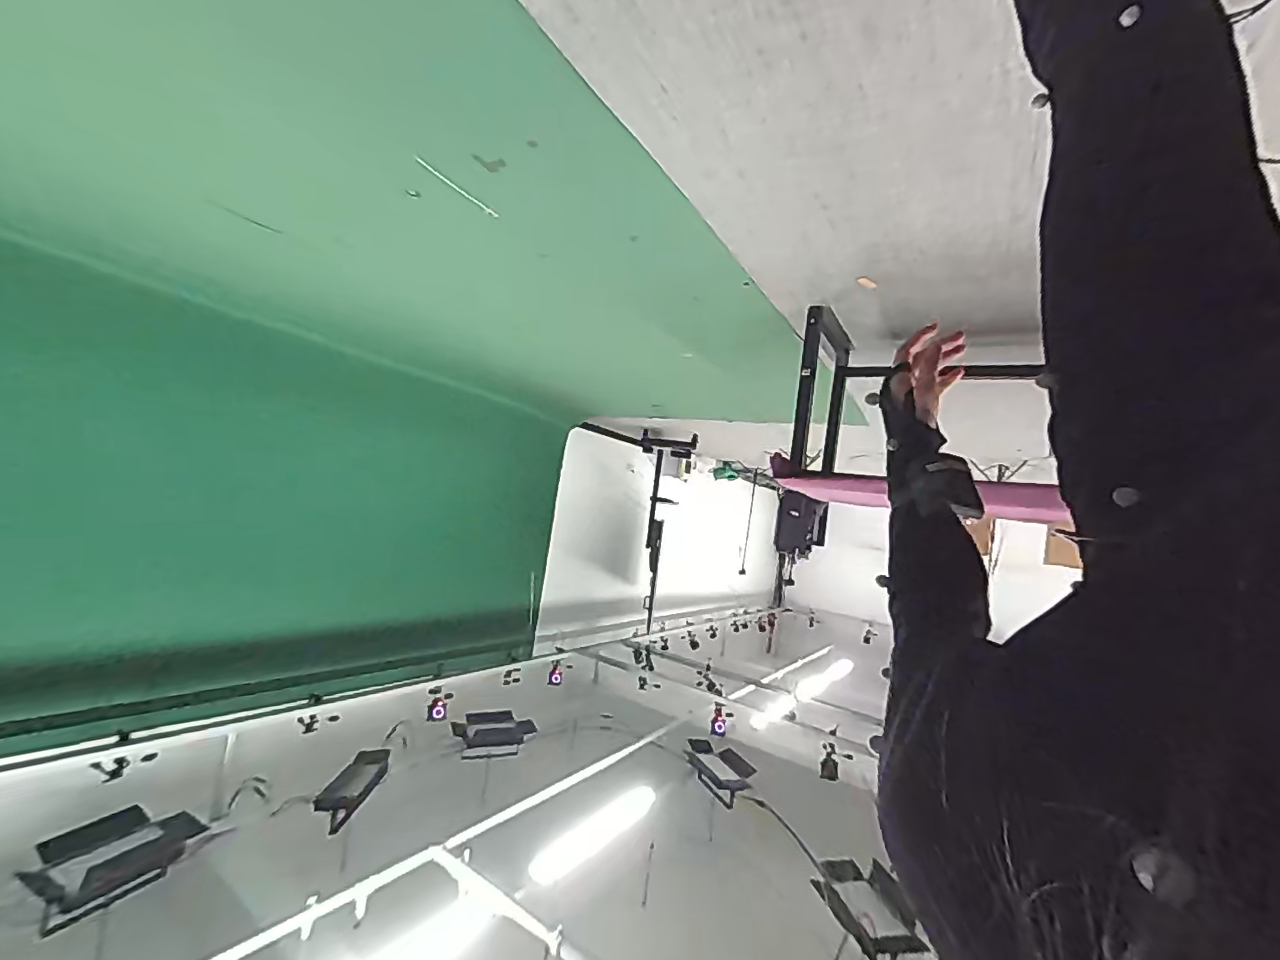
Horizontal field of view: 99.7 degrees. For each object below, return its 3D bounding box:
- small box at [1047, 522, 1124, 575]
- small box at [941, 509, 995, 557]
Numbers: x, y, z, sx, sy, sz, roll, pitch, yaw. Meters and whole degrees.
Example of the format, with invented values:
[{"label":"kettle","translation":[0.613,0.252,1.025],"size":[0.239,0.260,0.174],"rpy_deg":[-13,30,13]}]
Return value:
[{"label":"small box","translation":[1.643,0.249,1.996],"size":[0.179,0.176,0.168],"rpy_deg":[8,175,20]},{"label":"small box","translation":[1.317,0.211,2.168],"size":[0.179,0.176,0.168],"rpy_deg":[5,173,33]}]
